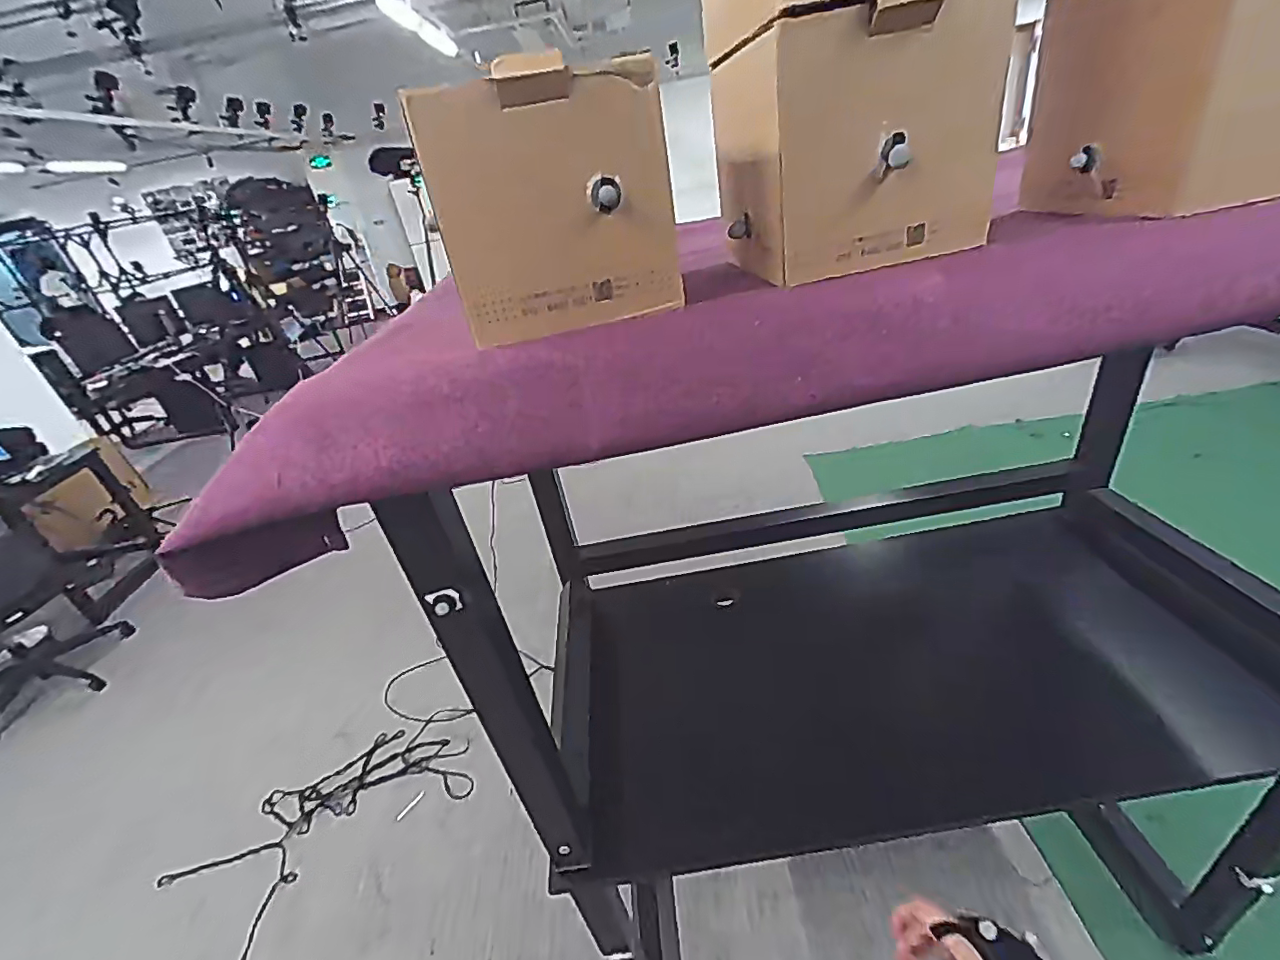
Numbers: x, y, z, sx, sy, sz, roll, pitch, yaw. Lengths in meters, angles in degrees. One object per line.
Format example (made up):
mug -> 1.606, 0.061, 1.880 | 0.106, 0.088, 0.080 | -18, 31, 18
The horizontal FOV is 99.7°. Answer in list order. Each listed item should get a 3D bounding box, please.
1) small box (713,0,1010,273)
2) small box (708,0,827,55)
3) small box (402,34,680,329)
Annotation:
small box -> 0.167, -0.280, 0.451 | 0.168, 0.176, 0.179 | -12, 30, -2
small box -> 0.141, -0.418, 0.367 | 0.168, 0.176, 0.179 | -13, 28, -3
small box -> -0.069, -0.232, 0.450 | 0.168, 0.176, 0.179 | -12, 29, -3
